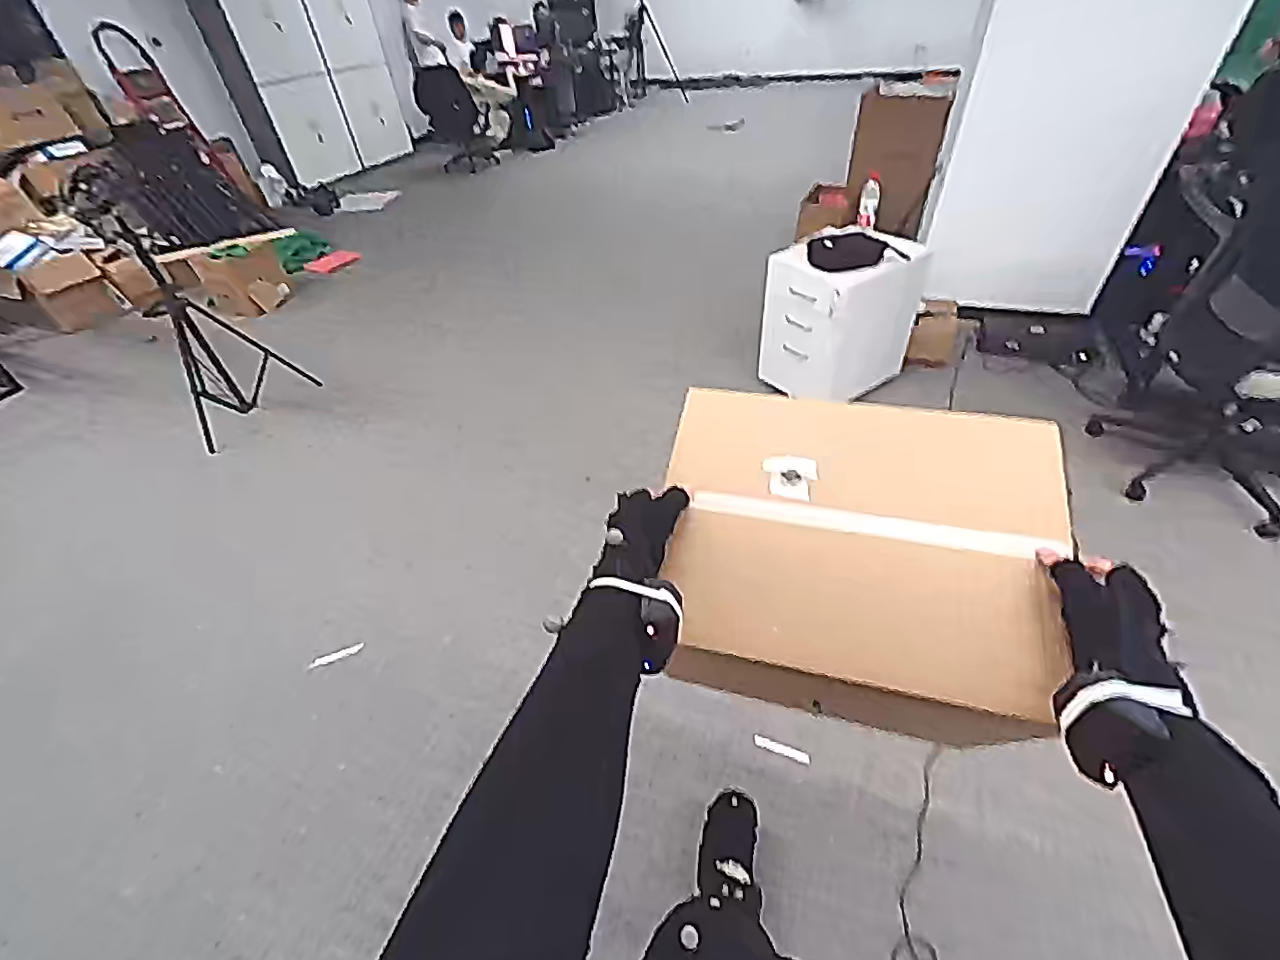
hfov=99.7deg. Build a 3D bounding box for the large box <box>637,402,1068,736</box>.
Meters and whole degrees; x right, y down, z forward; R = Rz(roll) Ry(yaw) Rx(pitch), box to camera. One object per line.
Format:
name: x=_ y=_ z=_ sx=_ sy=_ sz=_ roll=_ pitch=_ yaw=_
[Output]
large box: x=0.247 y=0.124 z=0.715 sx=0.408 sy=0.320 sz=0.320 roll=8 pitch=62 yaw=16
